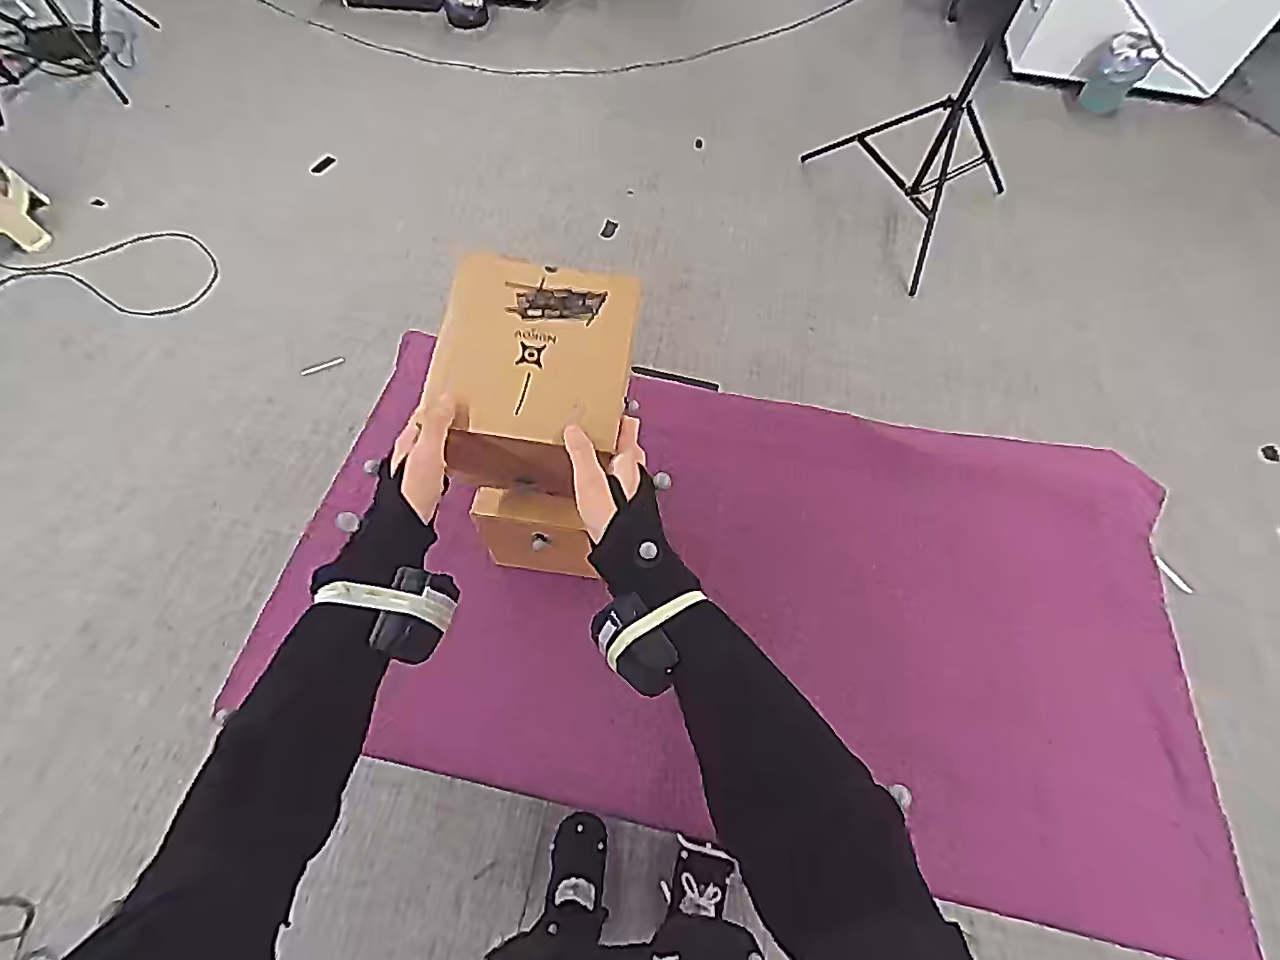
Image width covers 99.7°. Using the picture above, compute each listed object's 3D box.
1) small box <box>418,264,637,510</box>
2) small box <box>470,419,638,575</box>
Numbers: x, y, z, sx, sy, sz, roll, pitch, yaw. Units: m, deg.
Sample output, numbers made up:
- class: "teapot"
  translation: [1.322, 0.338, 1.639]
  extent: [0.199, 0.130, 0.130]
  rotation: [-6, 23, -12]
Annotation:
- class: "small box"
  translation: [-0.101, -0.084, 0.554]
  extent: [0.168, 0.176, 0.179]
  rotation: [8, 71, -1]
- class: "small box"
  translation: [-0.103, 0.019, 0.726]
  extent: [0.179, 0.176, 0.168]
  rotation: [8, 62, 2]
